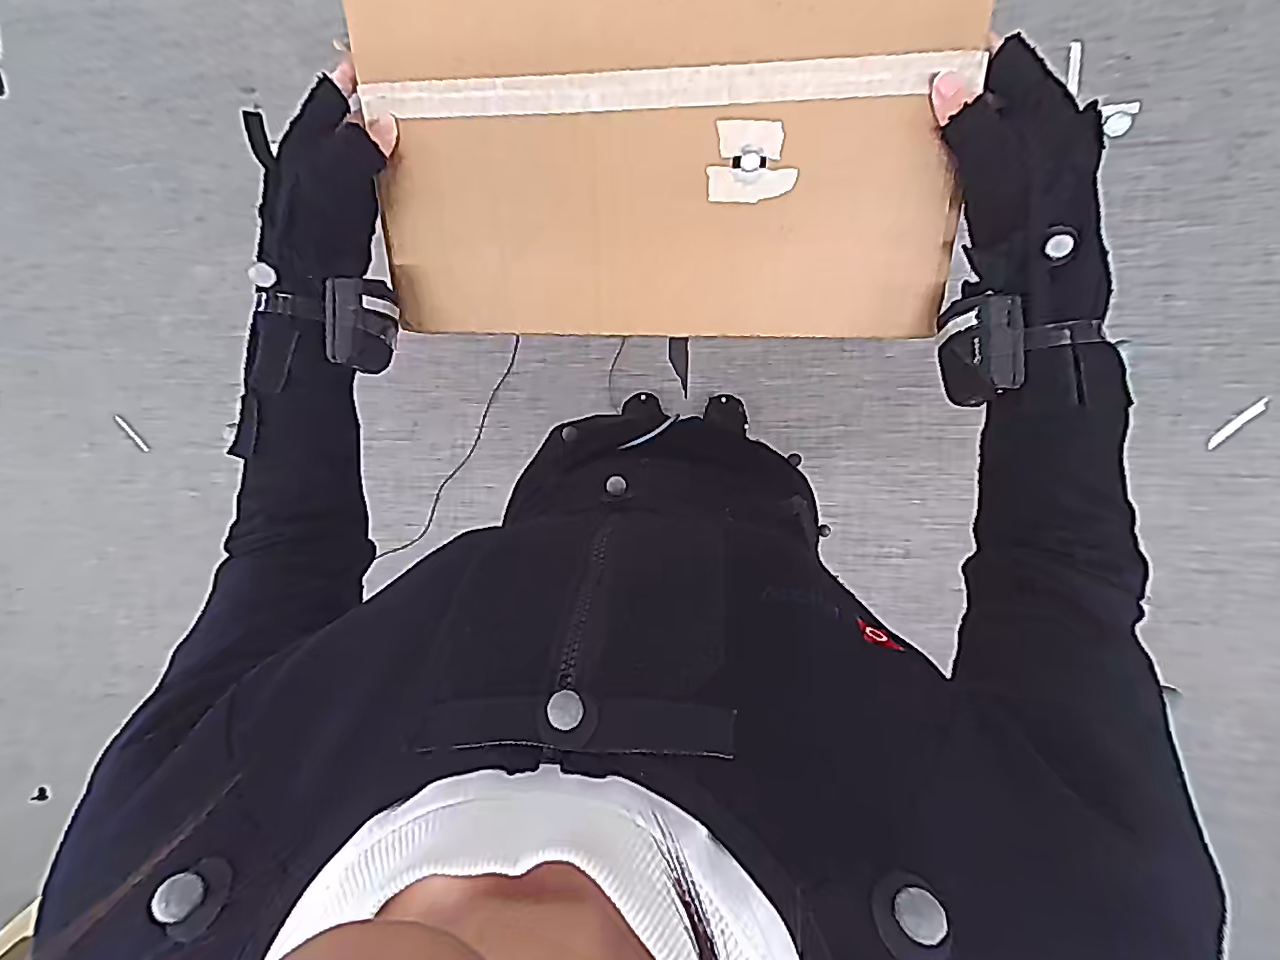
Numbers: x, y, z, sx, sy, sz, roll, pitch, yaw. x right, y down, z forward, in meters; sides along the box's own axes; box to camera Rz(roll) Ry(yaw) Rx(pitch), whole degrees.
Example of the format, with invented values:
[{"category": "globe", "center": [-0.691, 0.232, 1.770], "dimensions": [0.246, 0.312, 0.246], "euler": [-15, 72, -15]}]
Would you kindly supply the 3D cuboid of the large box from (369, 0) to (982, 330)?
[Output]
[{"category": "large box", "center": [0.029, -0.317, 0.503], "dimensions": [0.408, 0.320, 0.320], "euler": [2, 112, 7]}]
